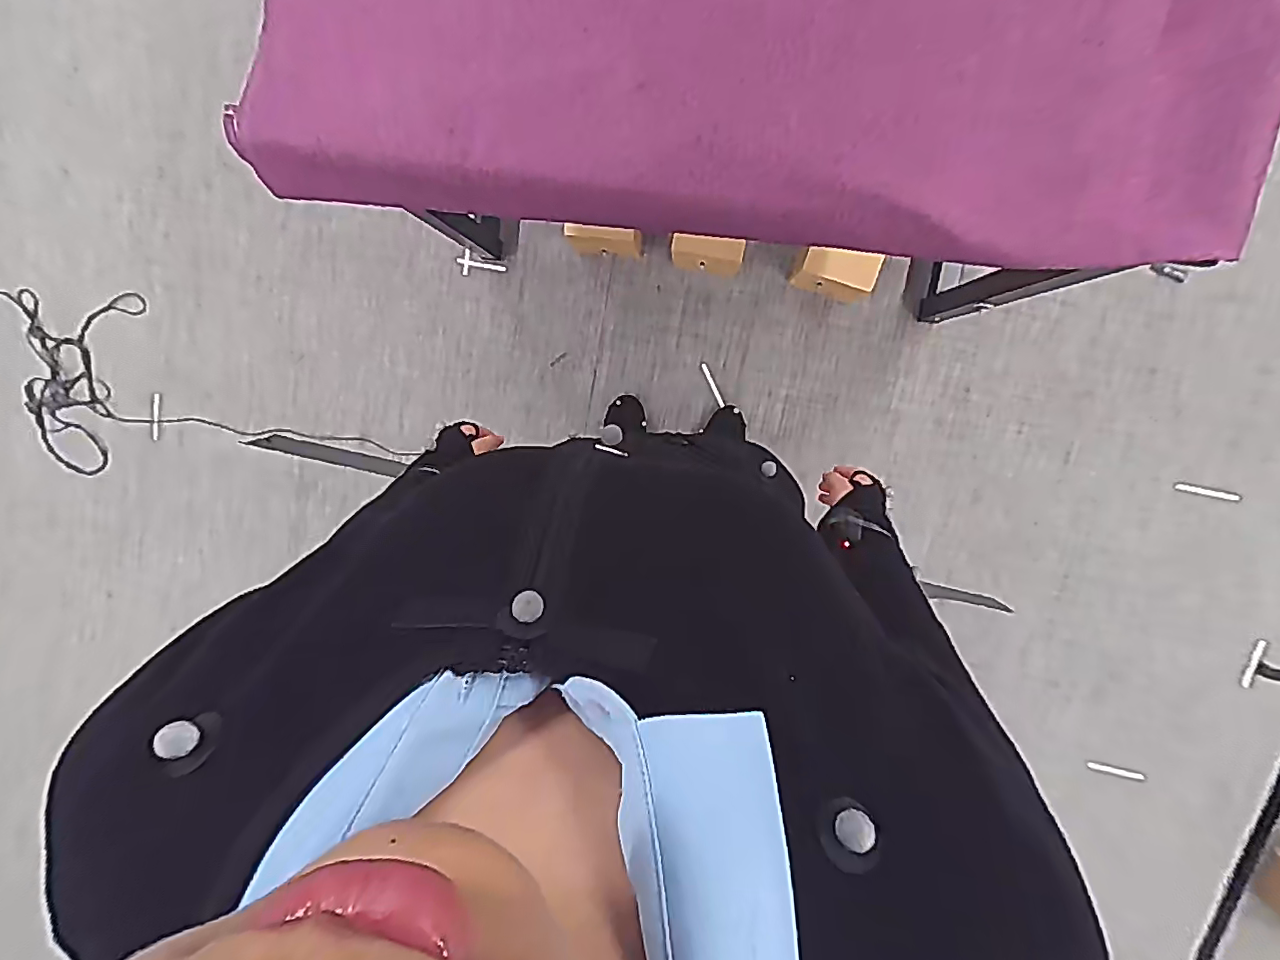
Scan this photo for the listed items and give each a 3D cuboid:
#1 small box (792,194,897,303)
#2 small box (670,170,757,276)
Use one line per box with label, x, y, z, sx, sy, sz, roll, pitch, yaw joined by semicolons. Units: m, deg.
small box;0.474;-0.539;1.287;0.168;0.176;0.179;19;100;2
small box;0.173;-0.607;1.299;0.168;0.176;0.179;12;100;2
